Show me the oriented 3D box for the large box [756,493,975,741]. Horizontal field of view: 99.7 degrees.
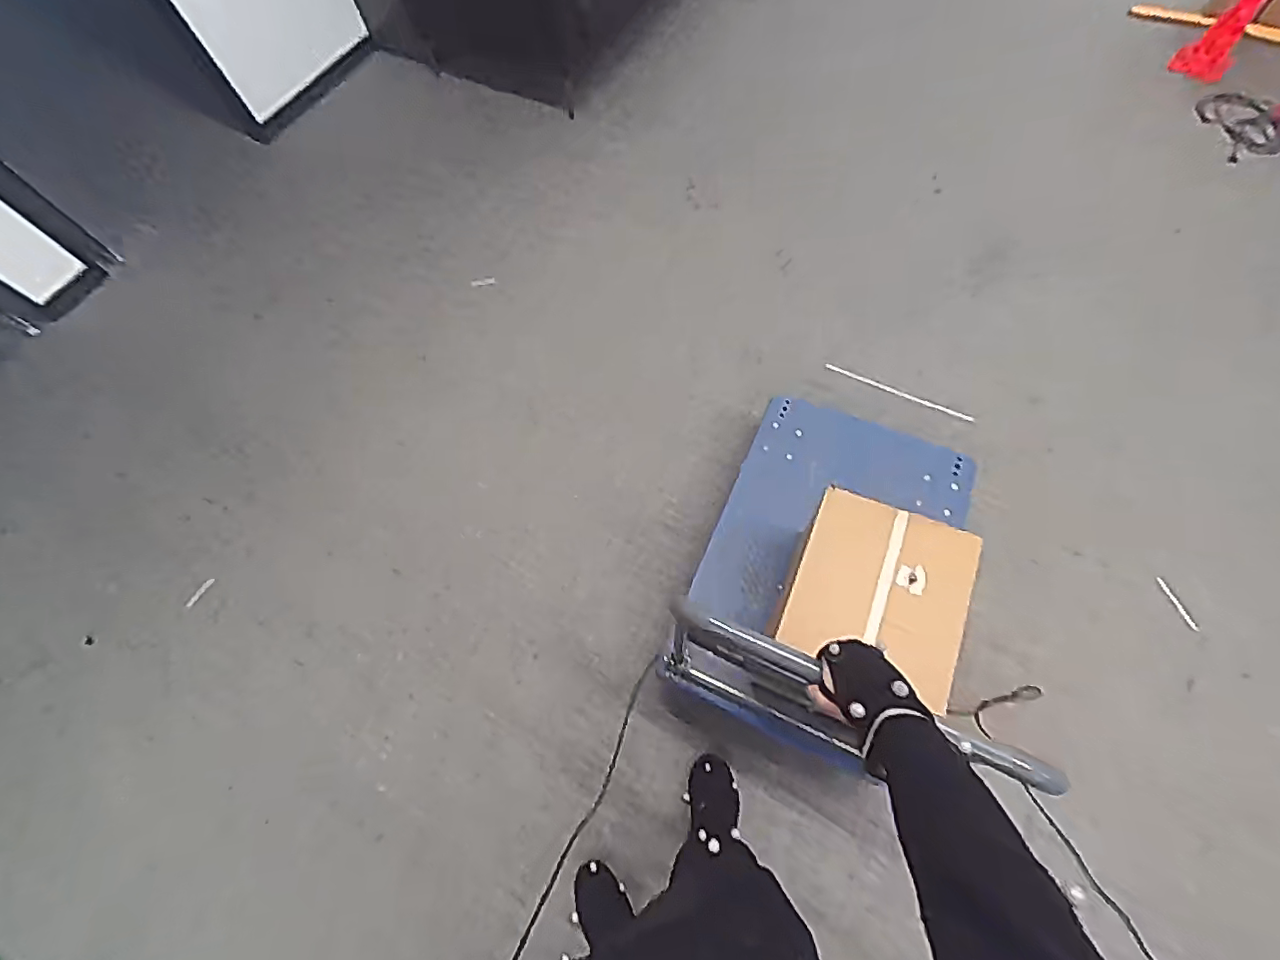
[{"bbox_3d":[0.471,0.307,1.182,0.320,0.320,0.408,21,68,14],"label":"large box"}]
